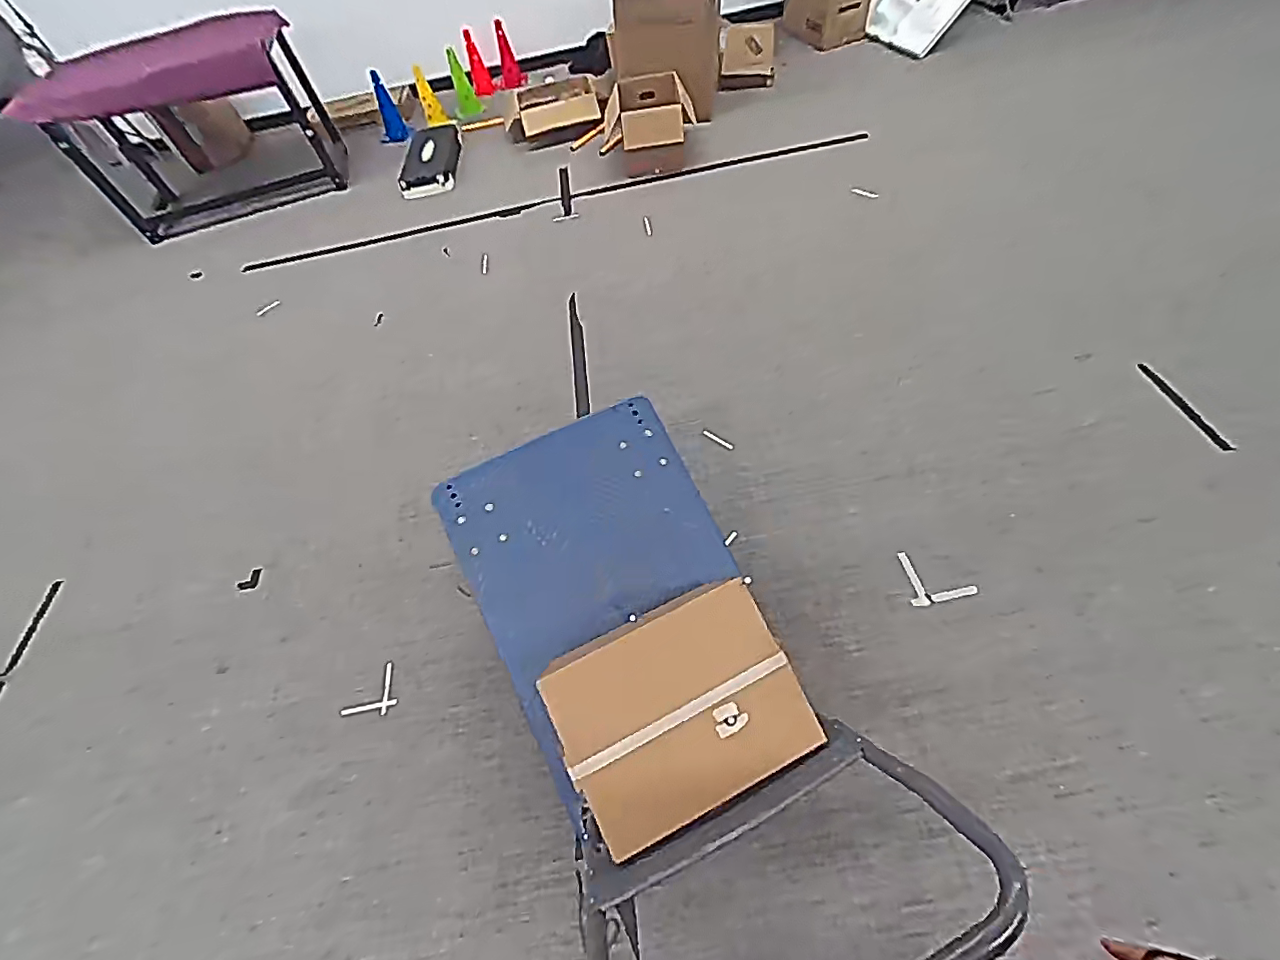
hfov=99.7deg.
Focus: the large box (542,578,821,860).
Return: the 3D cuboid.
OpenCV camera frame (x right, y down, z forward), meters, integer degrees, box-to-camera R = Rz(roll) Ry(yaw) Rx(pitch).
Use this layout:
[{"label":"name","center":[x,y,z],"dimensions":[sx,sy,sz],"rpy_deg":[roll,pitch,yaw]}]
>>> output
[{"label":"large box","center":[0.061,0.431,1.072],"dimensions":[0.408,0.320,0.320],"rpy_deg":[-26,81,-10]}]
